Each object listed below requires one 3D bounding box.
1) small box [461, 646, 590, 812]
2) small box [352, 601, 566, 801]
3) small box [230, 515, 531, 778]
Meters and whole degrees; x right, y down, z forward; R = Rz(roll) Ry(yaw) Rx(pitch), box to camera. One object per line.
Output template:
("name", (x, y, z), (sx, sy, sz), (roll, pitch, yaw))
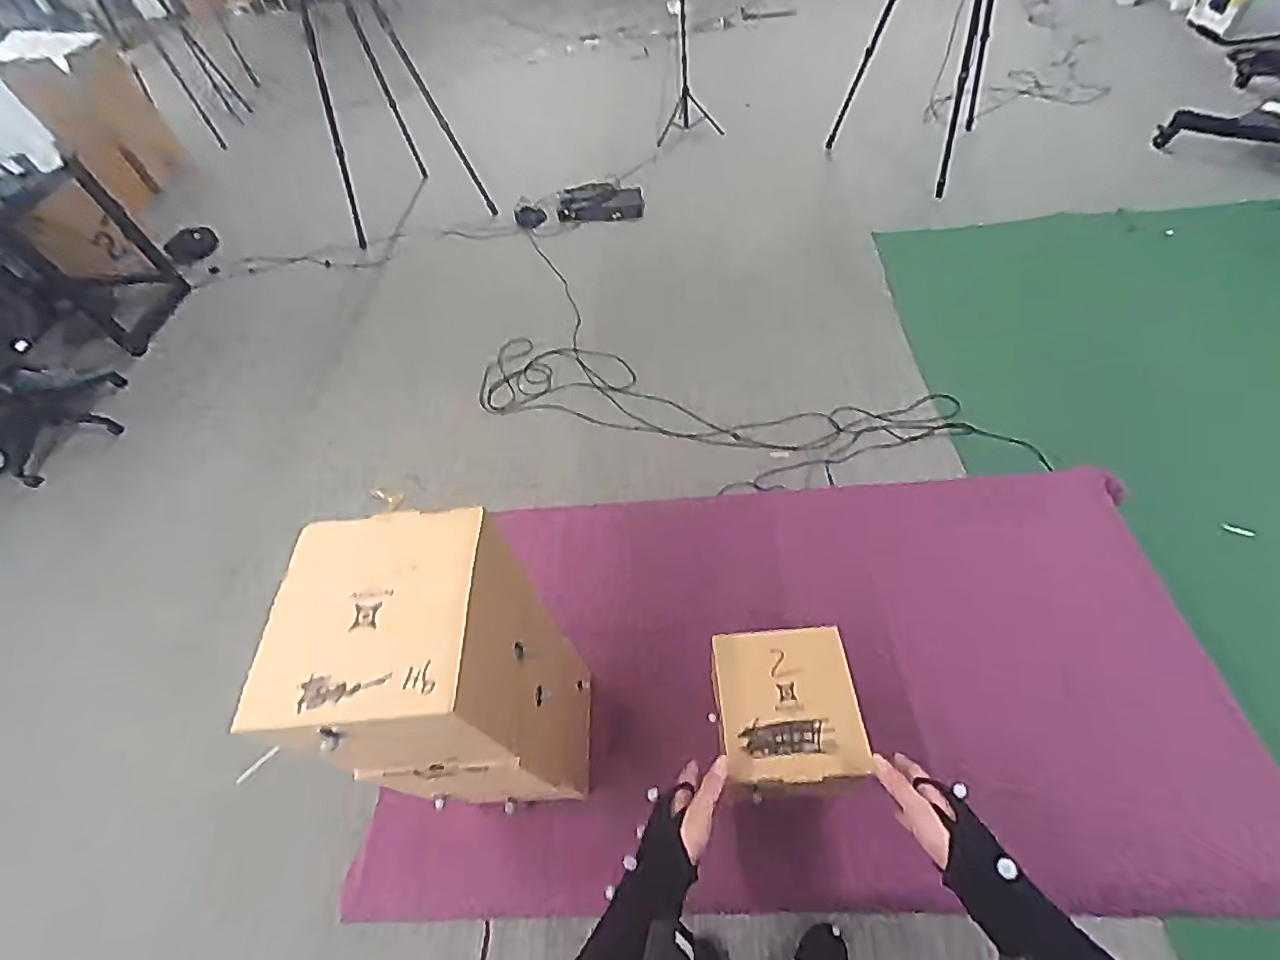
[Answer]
("small box", (-0.166, 0.348, 0.752), (0.168, 0.176, 0.179), (-6, 54, 4))
("small box", (-0.185, 0.258, 0.616), (0.168, 0.176, 0.179), (-6, 52, 5))
("small box", (-0.204, 0.155, 0.490), (0.168, 0.176, 0.179), (-6, 52, 5))
